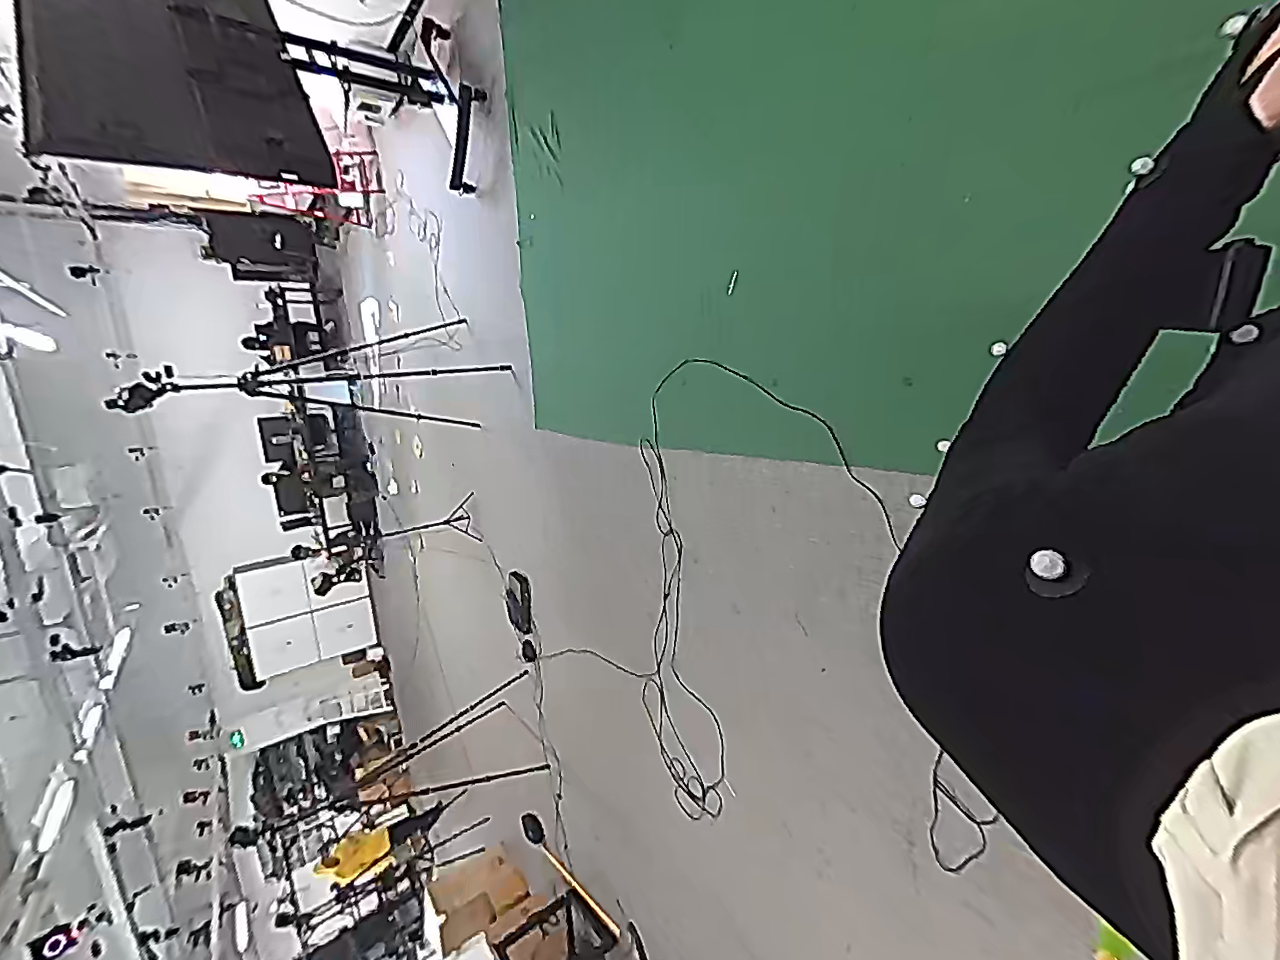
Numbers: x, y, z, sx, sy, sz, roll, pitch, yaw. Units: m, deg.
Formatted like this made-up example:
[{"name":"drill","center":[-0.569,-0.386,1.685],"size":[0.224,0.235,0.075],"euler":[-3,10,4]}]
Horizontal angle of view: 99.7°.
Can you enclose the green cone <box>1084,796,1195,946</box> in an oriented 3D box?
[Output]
[{"name":"green cone","center":[1.156,0.981,1.301],"size":[0.202,0.368,0.200],"euler":[11,108,51]}]
